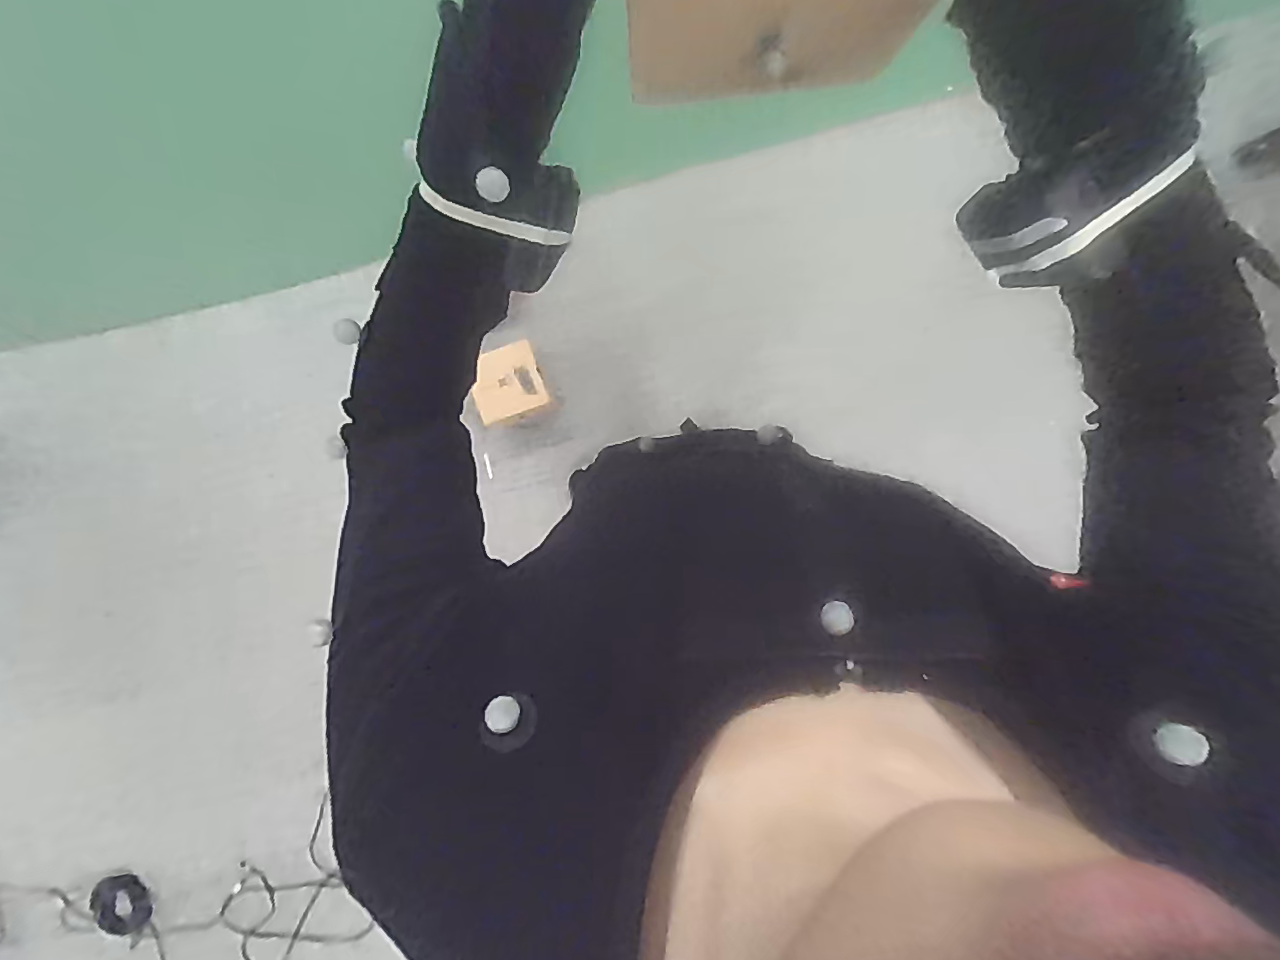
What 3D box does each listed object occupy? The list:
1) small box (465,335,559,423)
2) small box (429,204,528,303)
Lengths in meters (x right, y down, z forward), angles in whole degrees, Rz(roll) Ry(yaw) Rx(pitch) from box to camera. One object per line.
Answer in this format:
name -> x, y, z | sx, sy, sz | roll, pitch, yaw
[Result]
small box -> -0.317, -0.252, 1.386 | 0.179, 0.176, 0.168 | -19, 93, 2
small box -> -0.401, -0.564, 1.370 | 0.179, 0.176, 0.168 | -14, 94, 1
